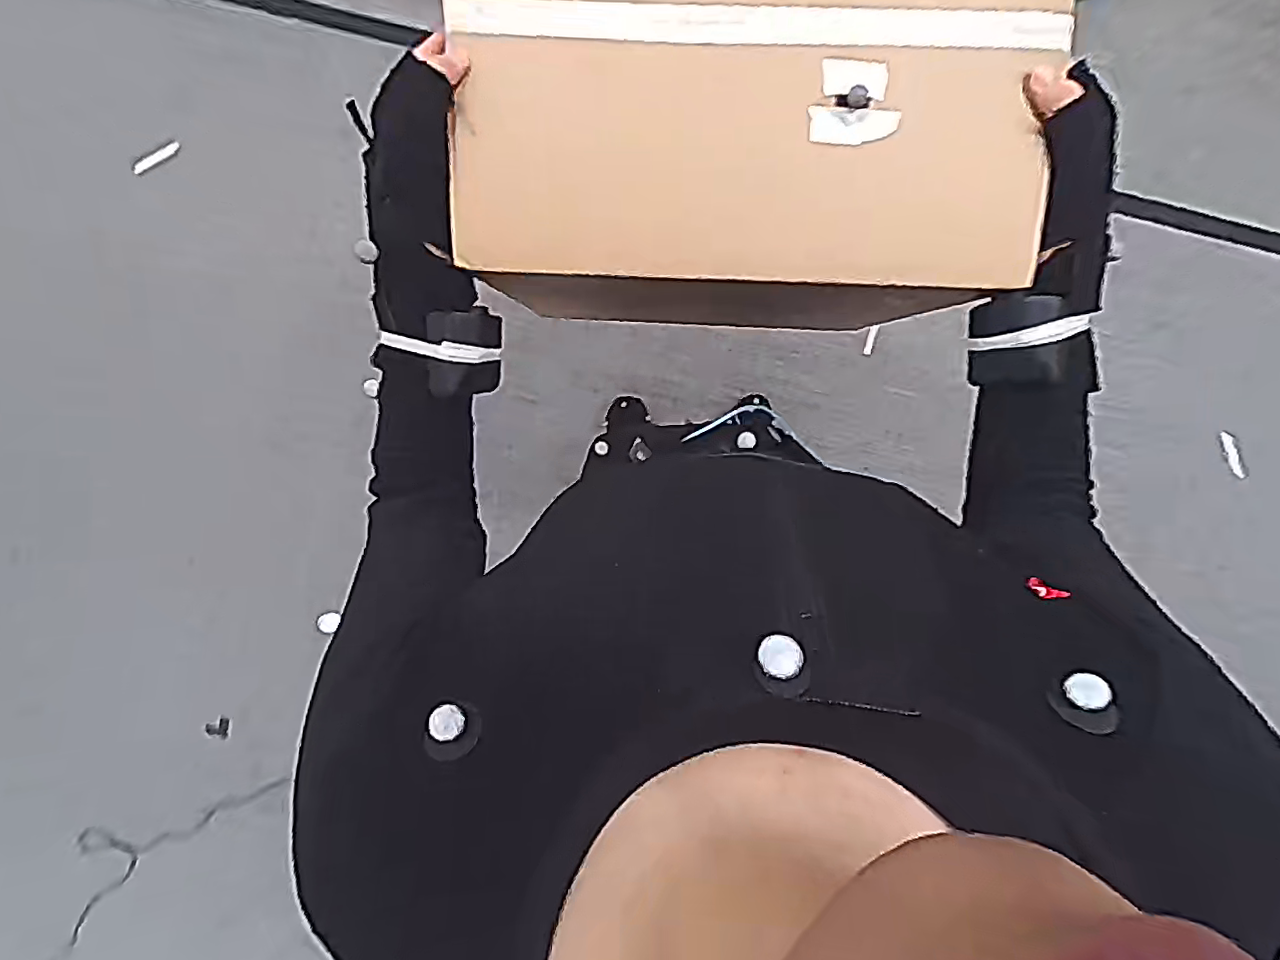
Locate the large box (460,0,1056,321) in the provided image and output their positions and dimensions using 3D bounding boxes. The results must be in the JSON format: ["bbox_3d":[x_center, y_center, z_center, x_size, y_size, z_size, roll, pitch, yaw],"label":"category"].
[{"bbox_3d":[0.075,-0.328,0.510,0.408,0.320,0.320,3,102,-1],"label":"large box"}]
